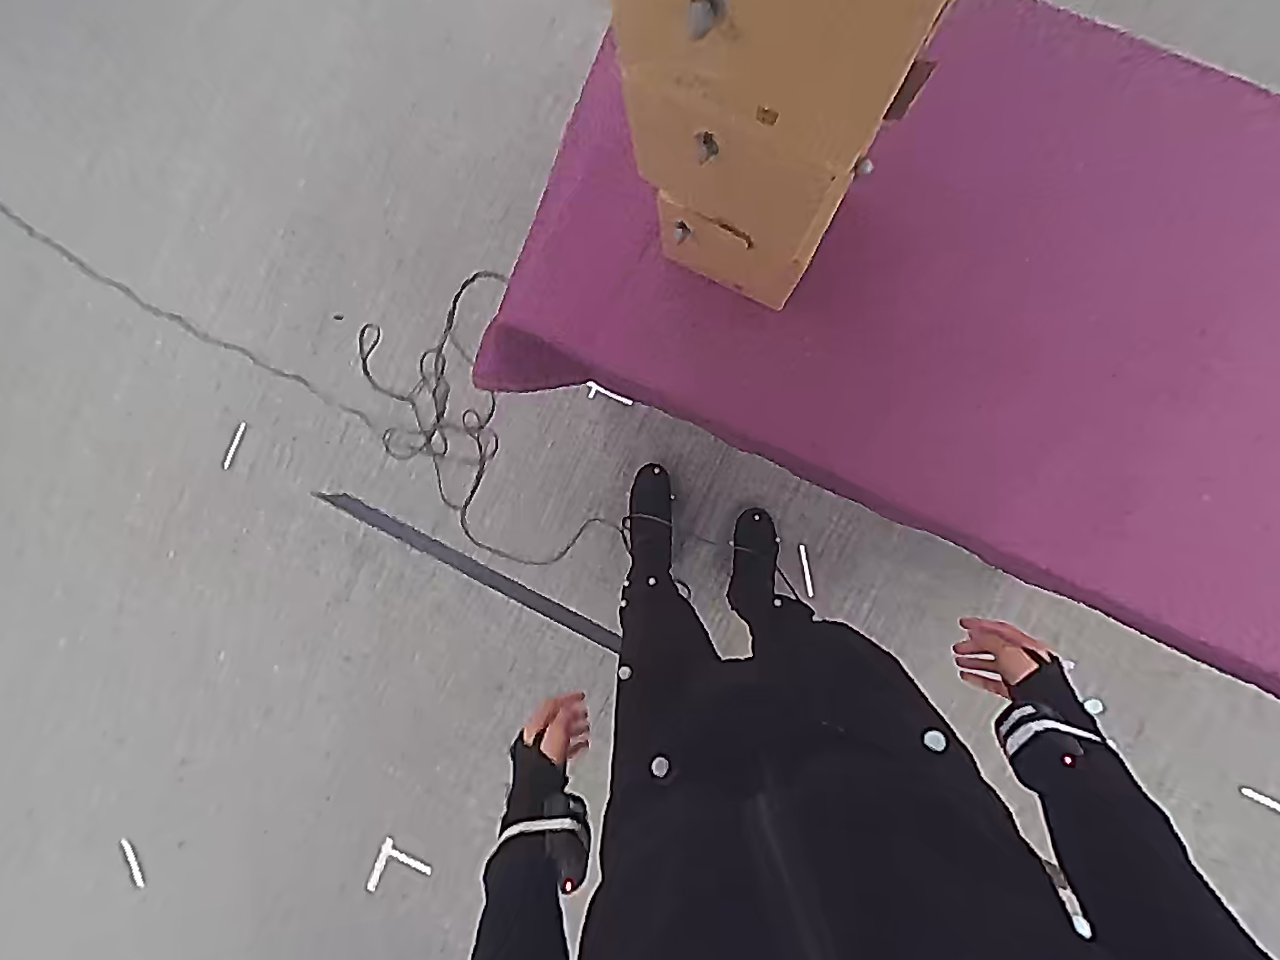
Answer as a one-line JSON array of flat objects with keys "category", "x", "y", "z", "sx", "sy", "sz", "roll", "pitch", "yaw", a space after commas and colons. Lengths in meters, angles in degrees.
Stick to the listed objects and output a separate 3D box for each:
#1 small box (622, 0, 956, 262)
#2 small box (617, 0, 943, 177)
[{"category": "small box", "x": 0.108, "y": -0.313, "z": 0.446, "sx": 0.179, "sy": 0.176, "sz": 0.168, "roll": 33, "pitch": 95, "yaw": 3}, {"category": "small box", "x": 0.093, "y": -0.304, "z": 0.284, "sx": 0.168, "sy": 0.176, "sz": 0.179, "roll": 27, "pitch": 93, "yaw": 4}]
